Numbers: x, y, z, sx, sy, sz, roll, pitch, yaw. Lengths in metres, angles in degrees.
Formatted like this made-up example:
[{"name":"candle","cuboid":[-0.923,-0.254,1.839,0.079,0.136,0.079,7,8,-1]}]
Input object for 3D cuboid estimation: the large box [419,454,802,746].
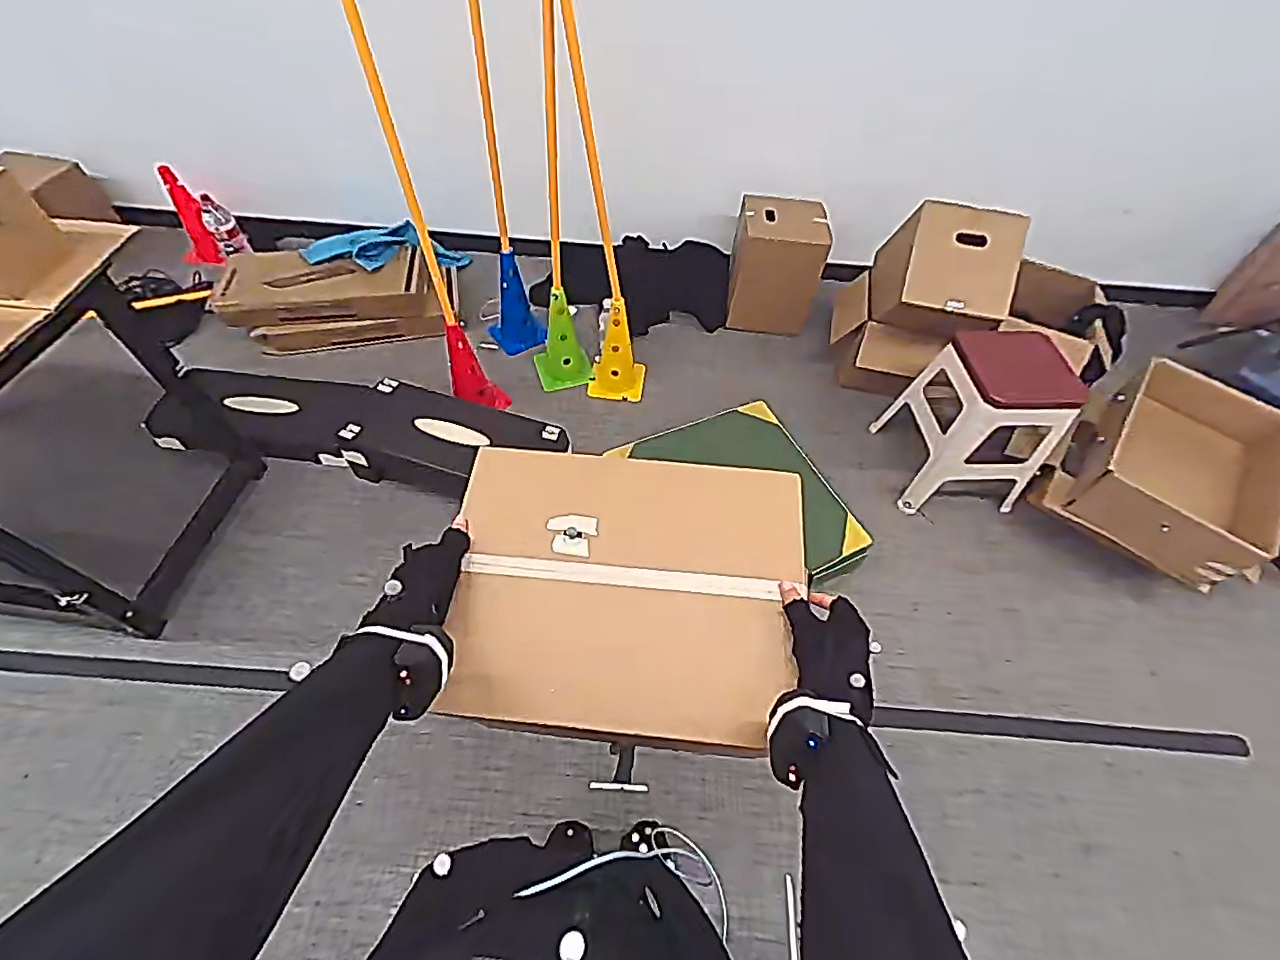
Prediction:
[{"name":"large box","cuboid":[-0.016,0.182,0.751,0.408,0.320,0.320,5,62,4]}]
